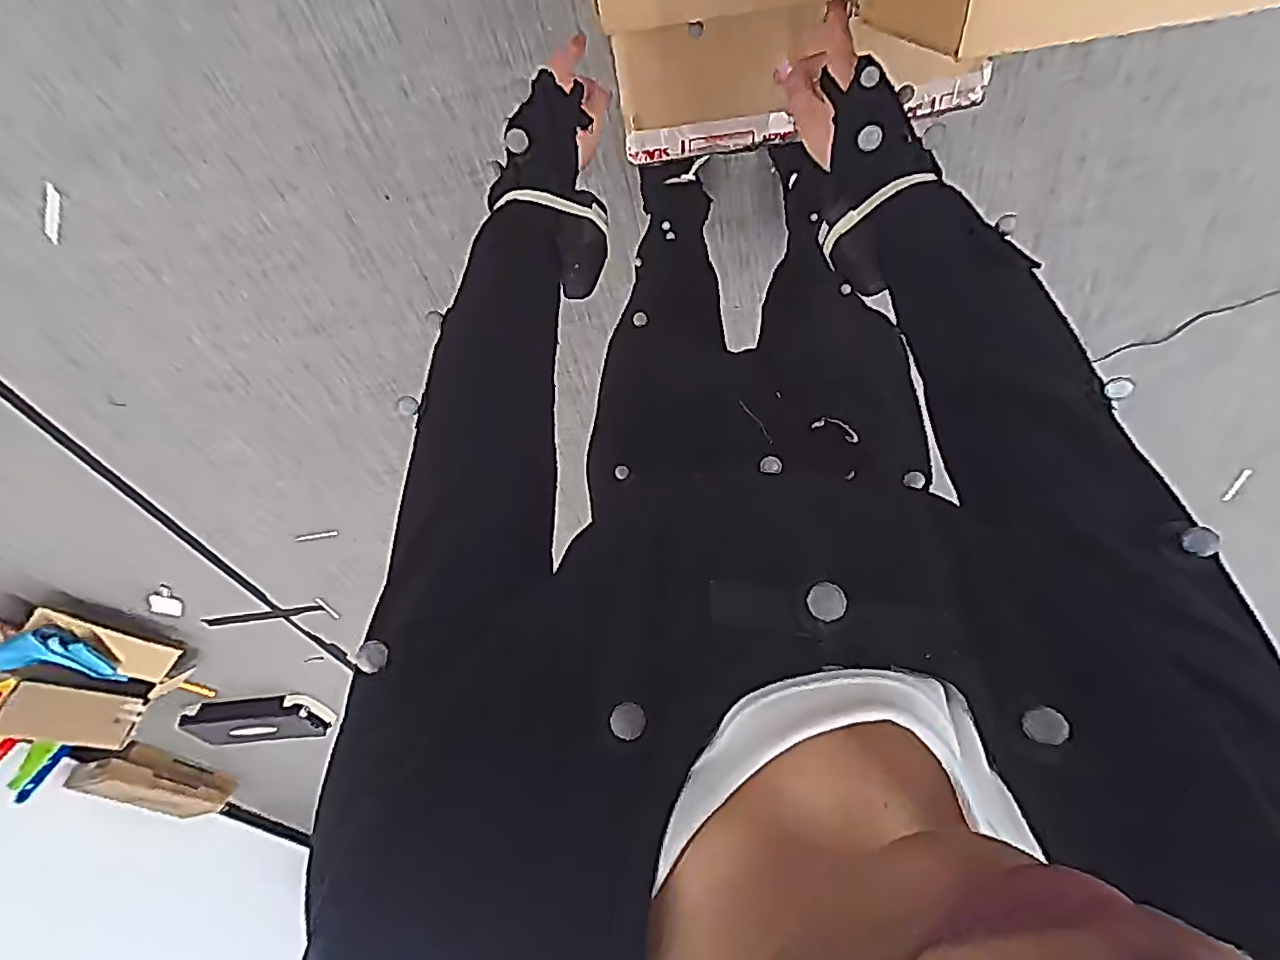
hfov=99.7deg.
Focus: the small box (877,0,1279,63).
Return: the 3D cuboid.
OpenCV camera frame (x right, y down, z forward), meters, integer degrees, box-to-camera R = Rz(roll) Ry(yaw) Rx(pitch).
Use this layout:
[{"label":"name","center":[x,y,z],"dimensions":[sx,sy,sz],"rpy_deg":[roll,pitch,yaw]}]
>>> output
[{"label":"small box","center":[0.237,-0.352,0.283],"dimensions":[0.168,0.176,0.179],"rpy_deg":[-7,134,5]}]
